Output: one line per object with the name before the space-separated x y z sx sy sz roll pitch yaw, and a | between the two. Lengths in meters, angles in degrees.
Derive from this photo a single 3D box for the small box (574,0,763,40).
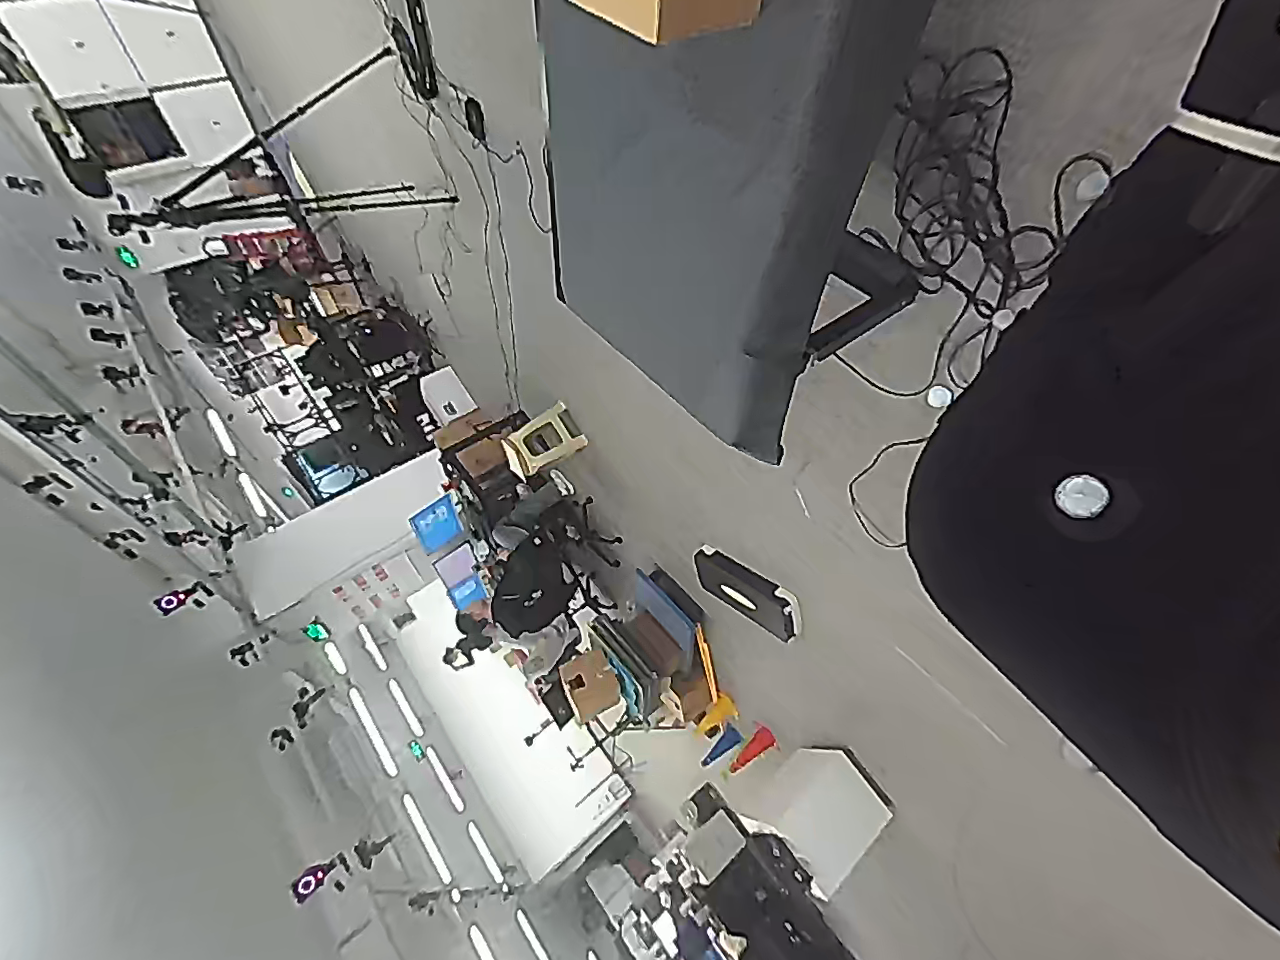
small box | 0.031 -0.610 0.578 0.179 0.176 0.168 45 155 24
